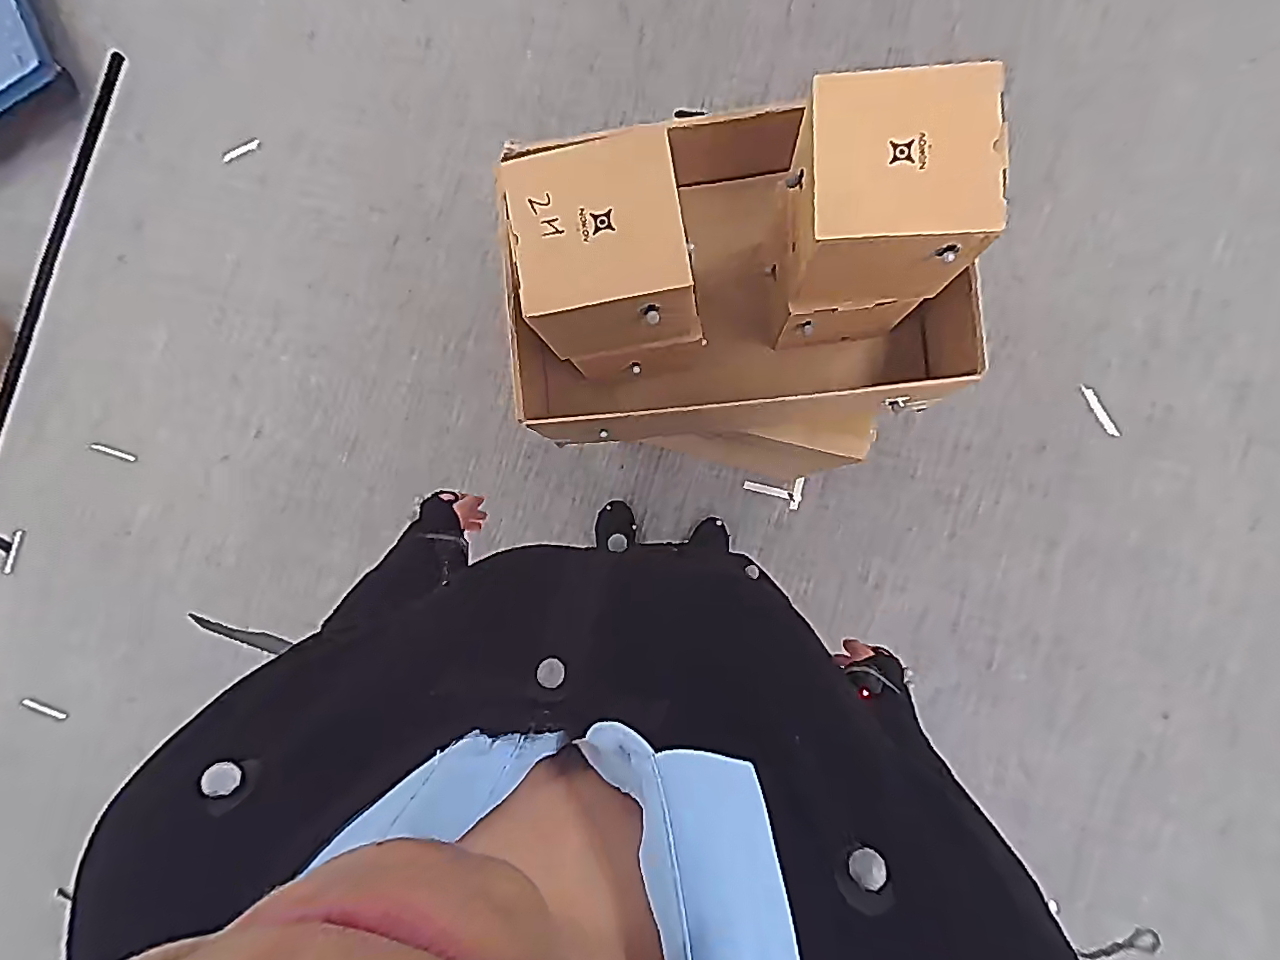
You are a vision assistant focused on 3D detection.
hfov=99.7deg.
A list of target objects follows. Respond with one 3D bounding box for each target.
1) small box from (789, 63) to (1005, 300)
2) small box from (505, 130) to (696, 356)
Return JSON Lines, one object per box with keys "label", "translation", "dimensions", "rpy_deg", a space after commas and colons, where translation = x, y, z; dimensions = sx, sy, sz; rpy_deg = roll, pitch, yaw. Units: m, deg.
{"label": "small box", "translation": [0.263, -0.308, 0.594], "dimensions": [0.179, 0.176, 0.168], "rpy_deg": [0, 88, 6]}
{"label": "small box", "translation": [-0.035, -0.254, 0.621], "dimensions": [0.179, 0.176, 0.168], "rpy_deg": [-9, 87, 5]}
